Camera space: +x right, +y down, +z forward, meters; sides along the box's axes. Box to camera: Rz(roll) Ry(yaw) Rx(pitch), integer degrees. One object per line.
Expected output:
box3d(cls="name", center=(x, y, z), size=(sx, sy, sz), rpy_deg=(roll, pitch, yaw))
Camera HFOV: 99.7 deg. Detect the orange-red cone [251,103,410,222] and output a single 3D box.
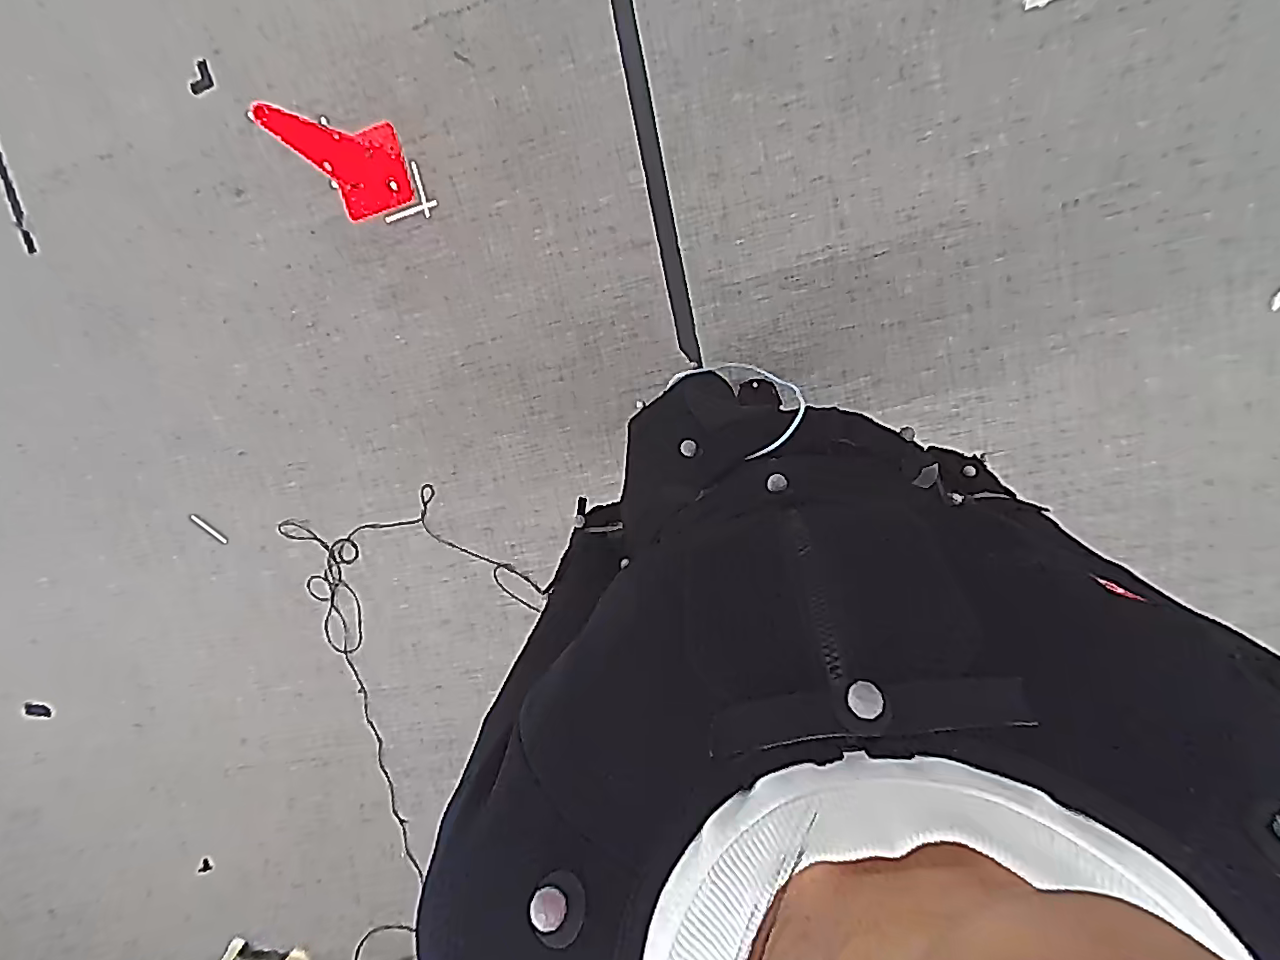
box3d(cls="orange-red cone", center=(-0.729, -0.761, 1.239), size=(0.198, 0.360, 0.199), rpy_deg=(-12, 98, 10))
